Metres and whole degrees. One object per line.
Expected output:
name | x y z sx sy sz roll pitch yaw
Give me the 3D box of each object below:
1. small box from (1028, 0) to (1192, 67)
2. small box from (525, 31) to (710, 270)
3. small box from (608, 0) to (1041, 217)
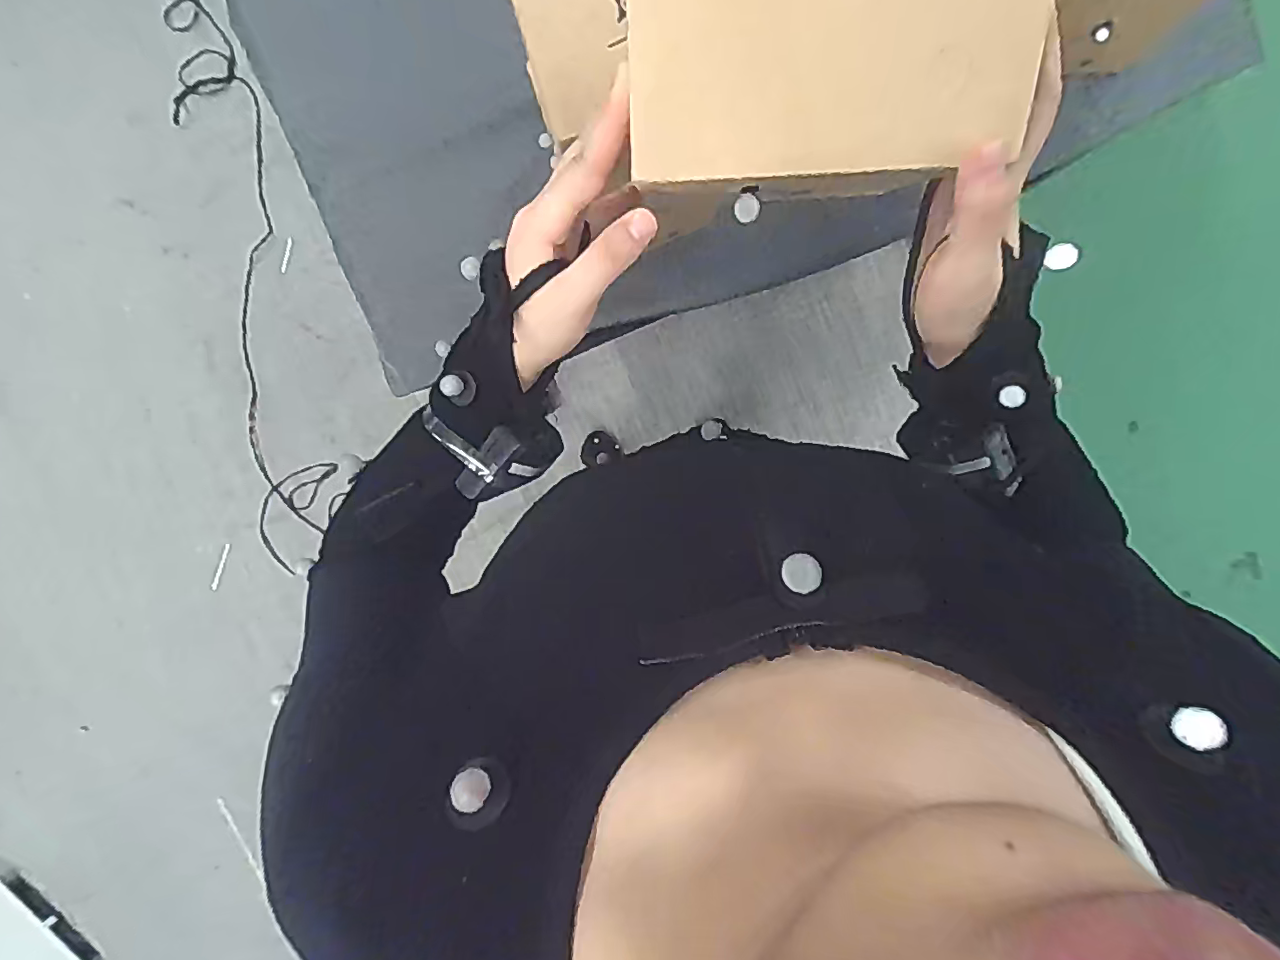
small box | 0.525 -0.600 0.604 0.168 0.176 0.179 -2 92 1
small box | -0.014 -0.383 0.641 0.168 0.176 0.179 -22 93 3
small box | 0.075 -0.234 0.274 0.168 0.176 0.179 -1 113 6
